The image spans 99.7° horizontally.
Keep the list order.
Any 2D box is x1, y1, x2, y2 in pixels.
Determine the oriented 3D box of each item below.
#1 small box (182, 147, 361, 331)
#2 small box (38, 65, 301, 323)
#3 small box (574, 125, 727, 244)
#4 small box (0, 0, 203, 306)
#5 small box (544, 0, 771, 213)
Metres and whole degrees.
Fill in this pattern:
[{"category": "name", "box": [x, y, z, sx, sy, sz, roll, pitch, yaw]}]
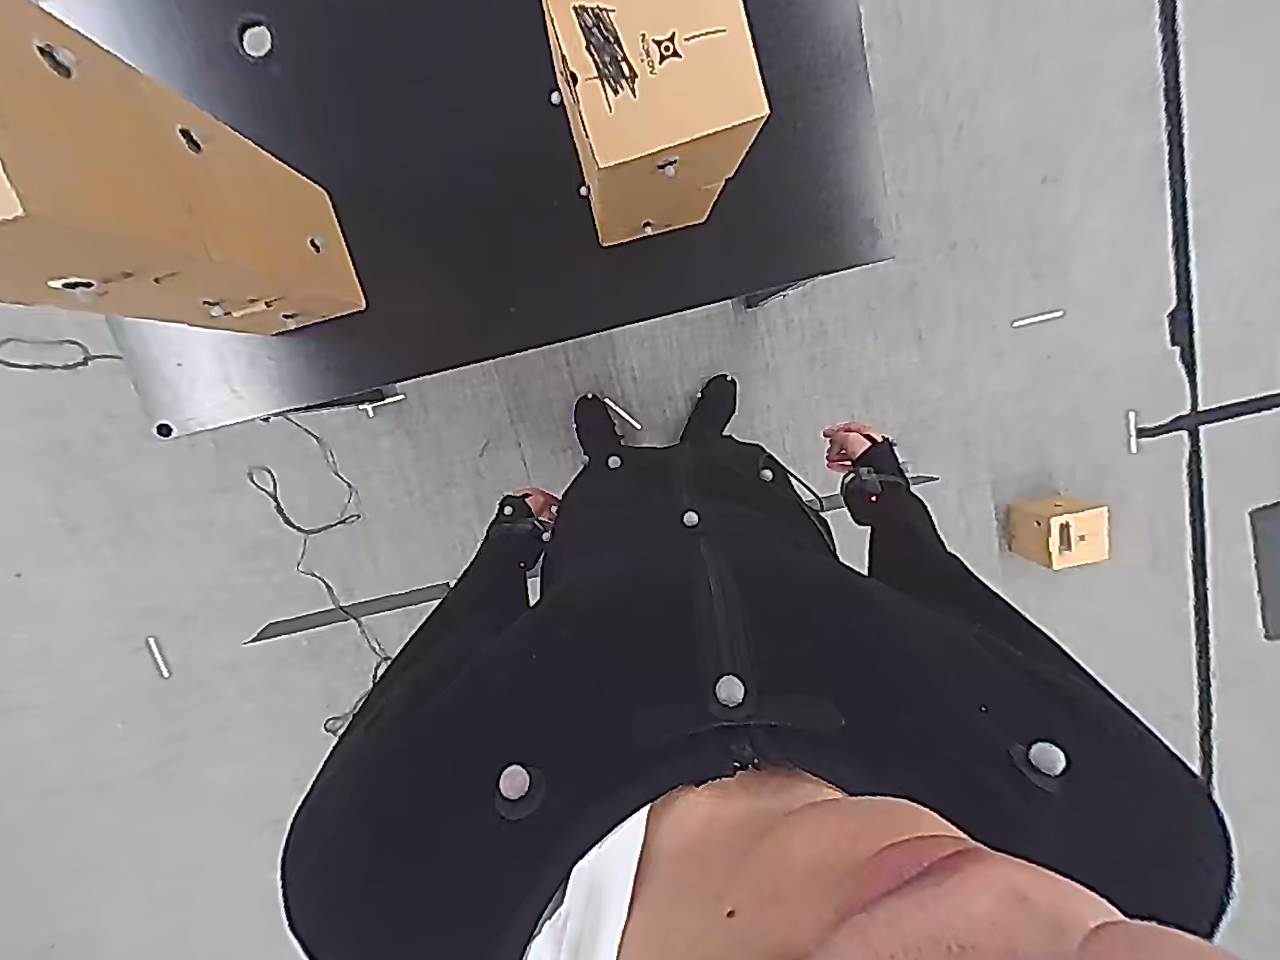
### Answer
[{"category": "small box", "box": [-0.514, -0.307, 0.731, 0.168, 0.176, 0.179, -16, 102, 0]}, {"category": "small box", "box": [-0.506, -0.278, 0.569, 0.168, 0.176, 0.179, -15, 101, 1]}, {"category": "small box", "box": [0.005, -0.445, 0.731, 0.168, 0.176, 0.179, -15, 101, 0]}, {"category": "small box", "box": [-0.497, -0.247, 0.409, 0.168, 0.176, 0.179, -15, 101, 1]}, {"category": "small box", "box": [0.014, -0.408, 0.570, 0.179, 0.176, 0.168, -18, 101, 0]}]
